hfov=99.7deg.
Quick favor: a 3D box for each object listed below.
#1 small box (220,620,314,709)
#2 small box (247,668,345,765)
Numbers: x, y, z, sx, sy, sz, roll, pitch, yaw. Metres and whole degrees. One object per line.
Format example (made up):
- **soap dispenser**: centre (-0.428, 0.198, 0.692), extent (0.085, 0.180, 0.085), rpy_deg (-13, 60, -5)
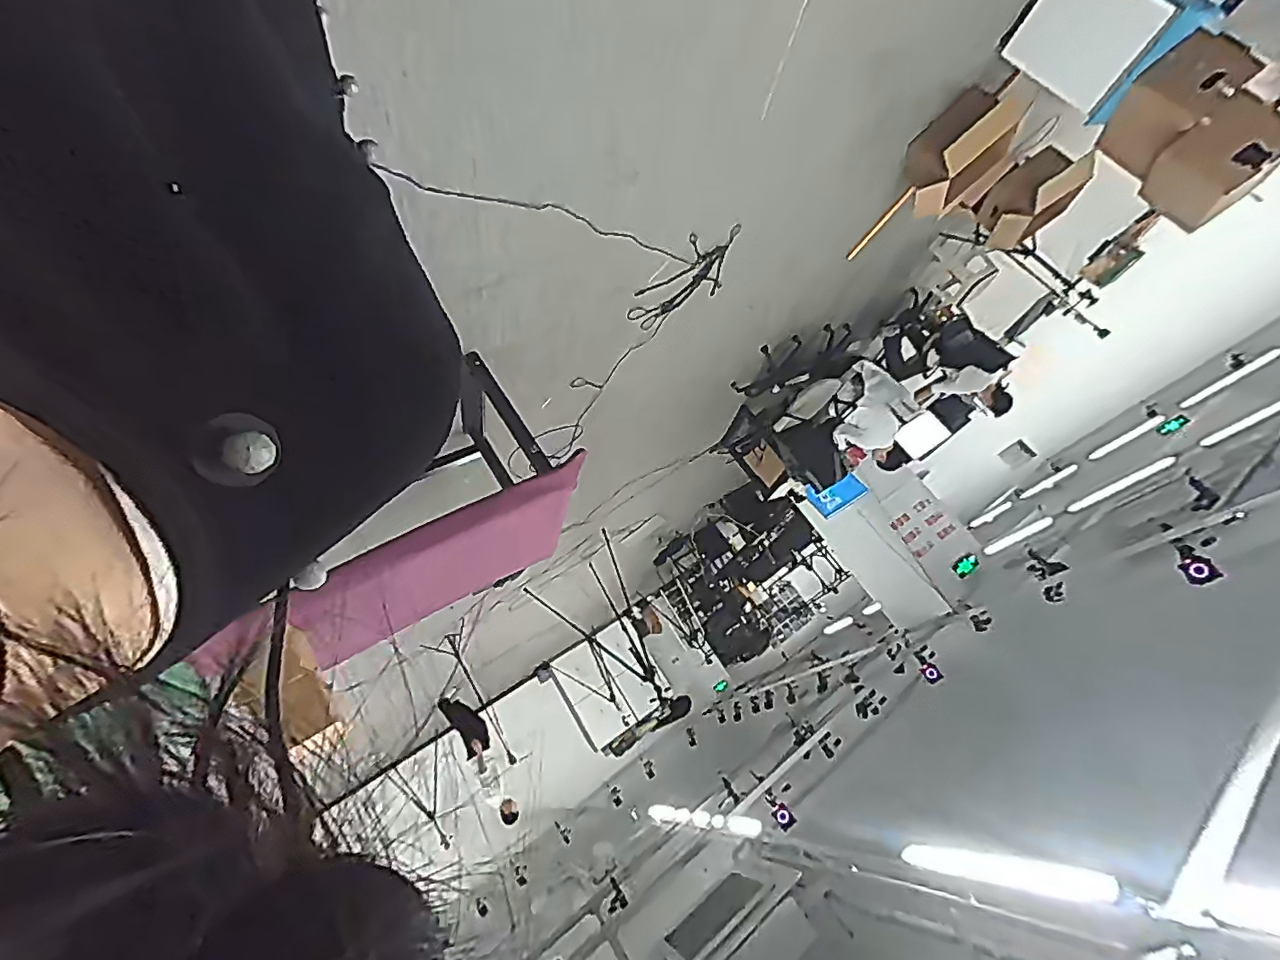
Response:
- **small box**: centre (-1.060, 0.532, 1.546), extent (0.179, 0.176, 0.168), rpy_deg (-28, 161, -24)
- **small box**: centre (-0.961, 0.658, 1.509), extent (0.179, 0.176, 0.168), rpy_deg (-27, 161, -29)
